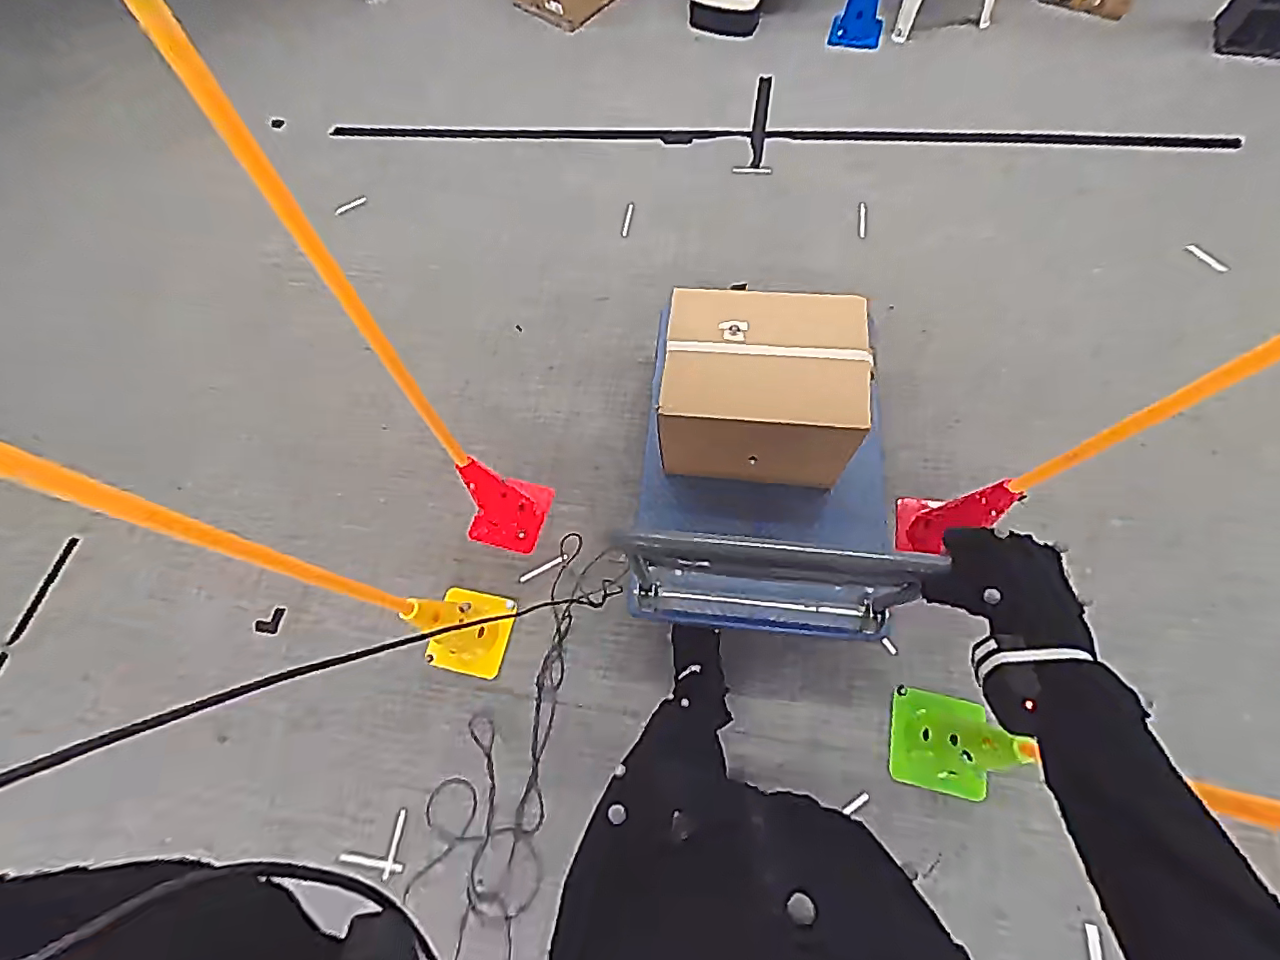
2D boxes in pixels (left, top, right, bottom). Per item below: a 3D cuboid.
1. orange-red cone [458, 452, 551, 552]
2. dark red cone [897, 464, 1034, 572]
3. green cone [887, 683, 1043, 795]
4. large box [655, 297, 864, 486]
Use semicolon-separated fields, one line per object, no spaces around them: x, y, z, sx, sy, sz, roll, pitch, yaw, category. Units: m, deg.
-0.377;0.023;1.362;0.198;0.360;0.199;14;68;10;orange-red cone
0.747;0.063;1.217;0.201;0.394;0.202;7;68;6;dark red cone
0.652;0.511;1.056;0.202;0.368;0.200;11;69;8;green cone
0.259;-0.189;1.233;0.408;0.320;0.320;5;69;8;large box
